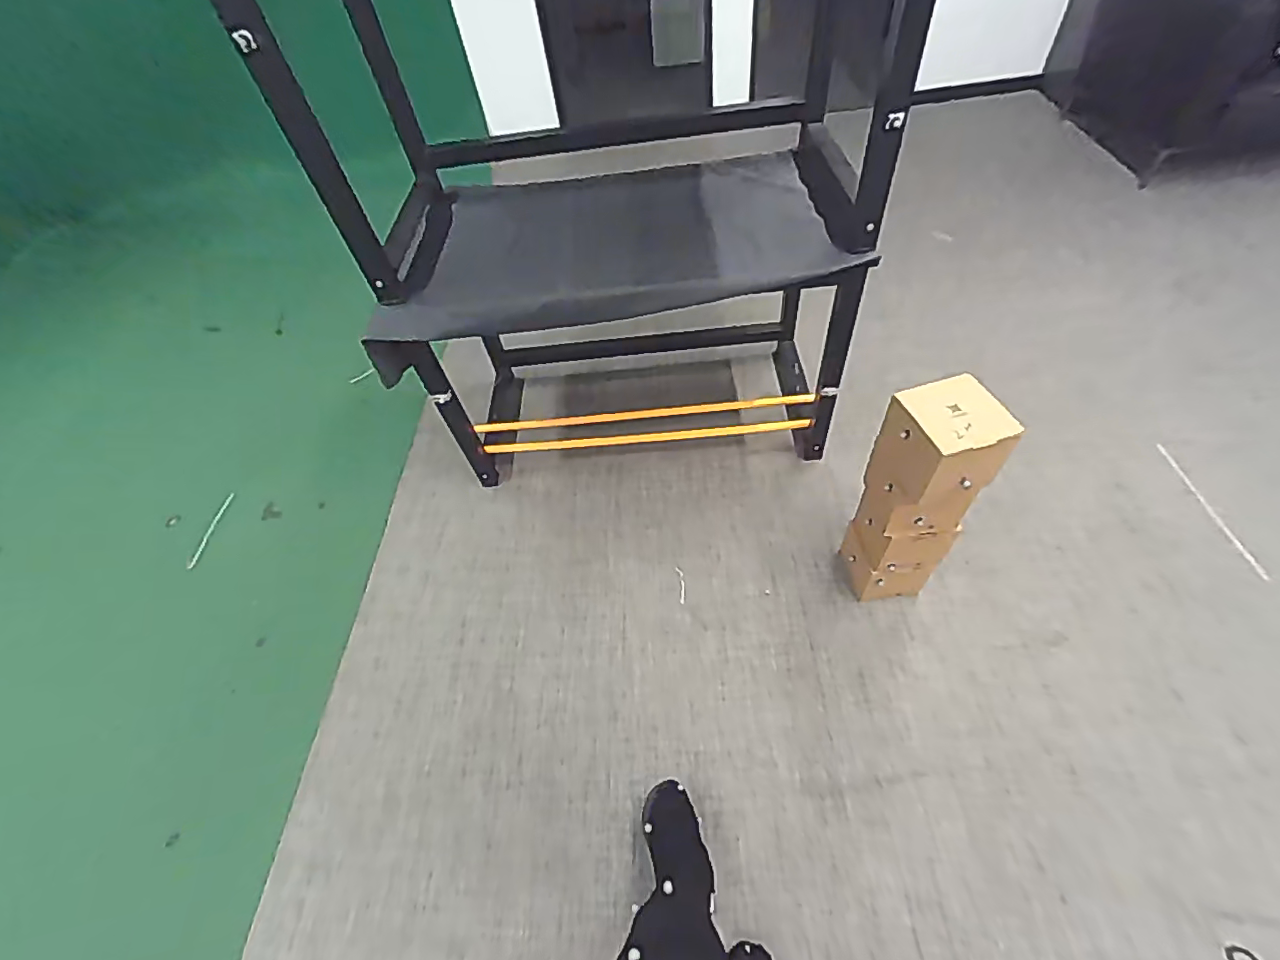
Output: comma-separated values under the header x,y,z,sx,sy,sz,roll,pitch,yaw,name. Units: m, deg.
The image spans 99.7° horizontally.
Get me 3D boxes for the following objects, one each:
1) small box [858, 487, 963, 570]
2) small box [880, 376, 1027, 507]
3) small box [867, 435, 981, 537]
x,y,z,sx,sy,sz,roll,pitch,yaw,name
0.665,0.112,1.350,0.168,0.176,0.179,-7,51,3,small box
0.613,-0.075,1.089,0.168,0.176,0.179,-16,53,-3,small box
0.633,0.009,1.228,0.168,0.176,0.179,-5,52,5,small box
